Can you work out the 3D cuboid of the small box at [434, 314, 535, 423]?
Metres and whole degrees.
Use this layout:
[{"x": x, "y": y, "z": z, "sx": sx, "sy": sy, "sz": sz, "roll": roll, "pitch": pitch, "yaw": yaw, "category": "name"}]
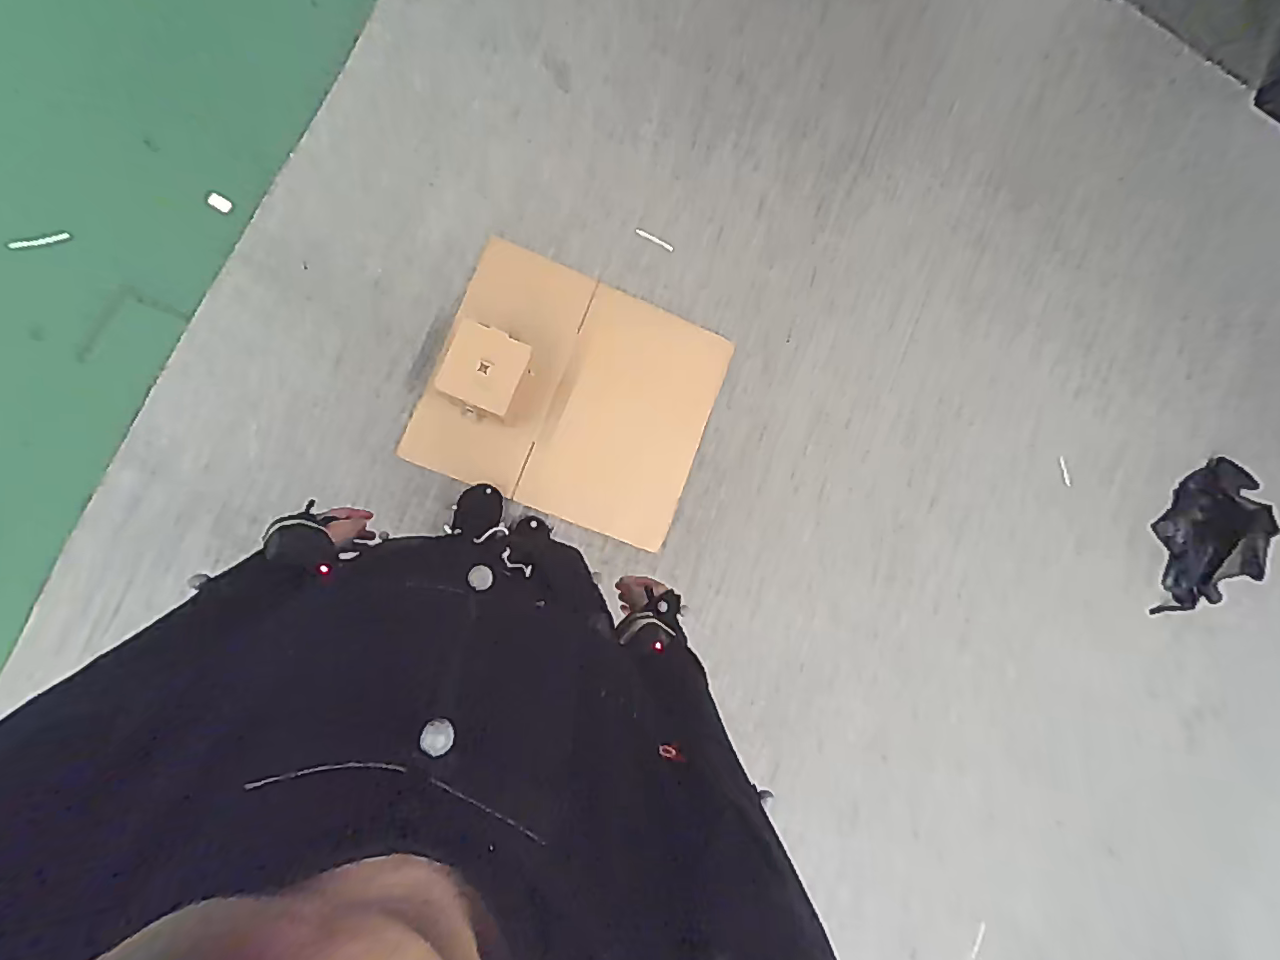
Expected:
[{"x": -0.352, "y": -0.249, "z": 1.257, "sx": 0.168, "sy": 0.176, "sz": 0.179, "roll": 22, "pitch": 85, "yaw": -8, "category": "small box"}]
